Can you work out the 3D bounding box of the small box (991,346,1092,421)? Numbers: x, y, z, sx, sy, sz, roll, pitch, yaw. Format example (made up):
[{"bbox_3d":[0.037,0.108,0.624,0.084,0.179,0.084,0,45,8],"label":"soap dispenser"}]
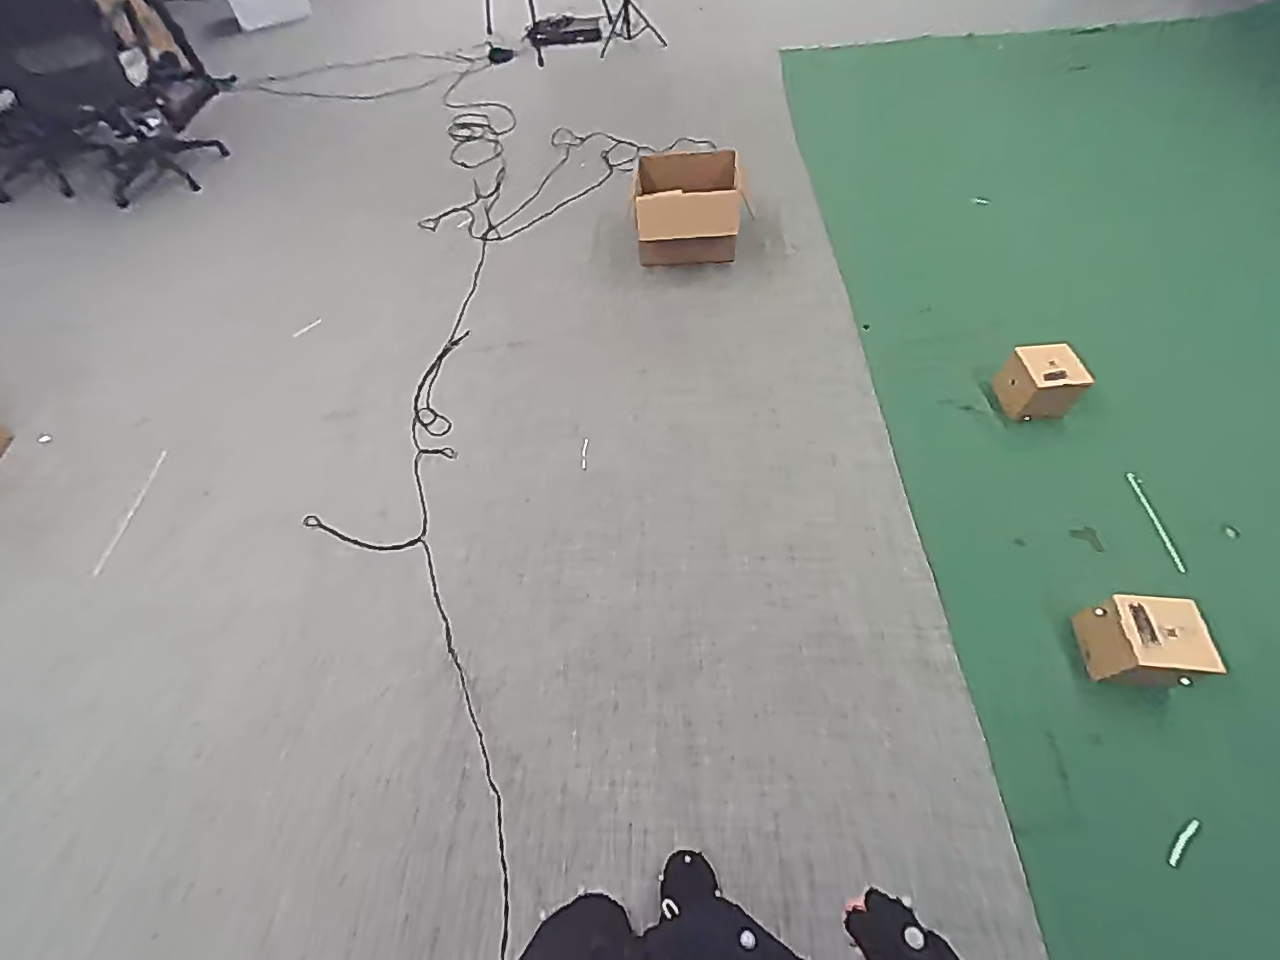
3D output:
[{"bbox_3d":[1.263,-0.299,1.715,0.168,0.176,0.179,-4,56,2],"label":"small box"}]
